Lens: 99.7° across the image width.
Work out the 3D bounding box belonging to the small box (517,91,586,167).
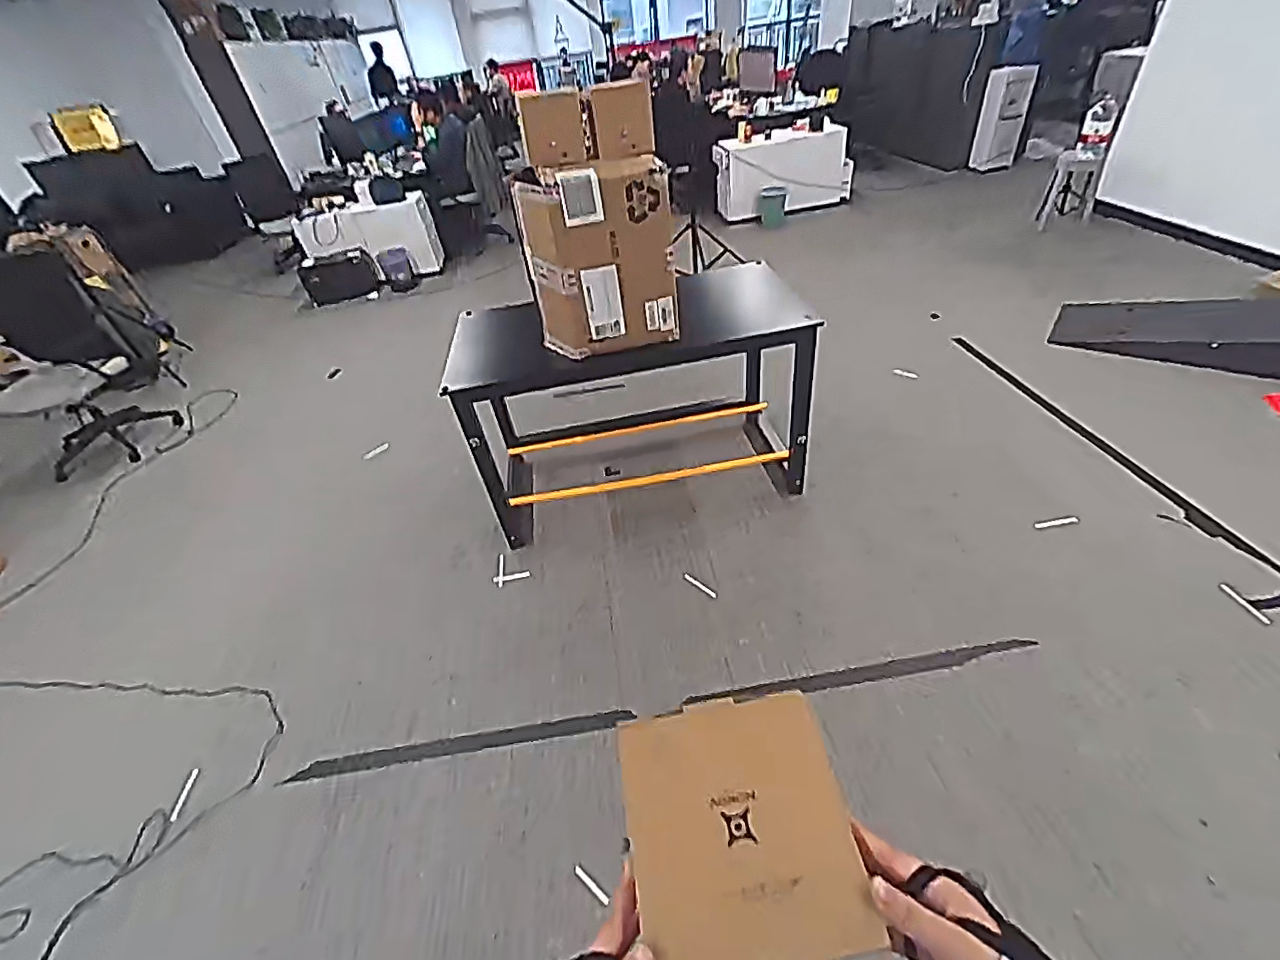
[{"bbox_3d":[-0.255,-1.011,1.556,0.168,0.176,0.179,-12,38,-8],"label":"small box"}]

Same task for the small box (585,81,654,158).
[{"bbox_3d":[-0.060,-1.049,1.574,0.168,0.176,0.179,-12,38,-5],"label":"small box"}]

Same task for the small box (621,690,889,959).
[{"bbox_3d":[0.078,0.310,0.469,0.168,0.176,0.179,-9,49,-3],"label":"small box"}]
